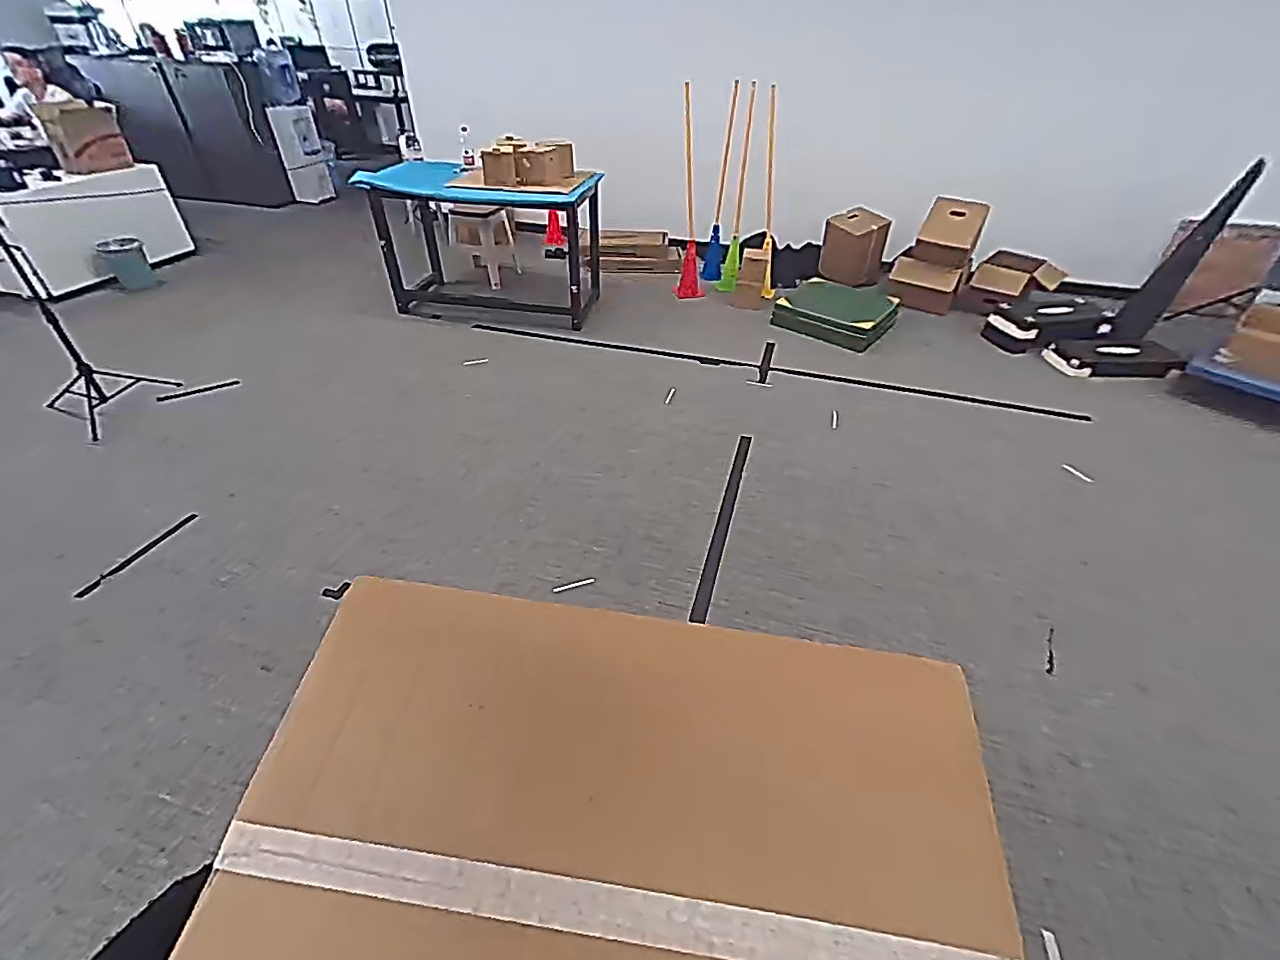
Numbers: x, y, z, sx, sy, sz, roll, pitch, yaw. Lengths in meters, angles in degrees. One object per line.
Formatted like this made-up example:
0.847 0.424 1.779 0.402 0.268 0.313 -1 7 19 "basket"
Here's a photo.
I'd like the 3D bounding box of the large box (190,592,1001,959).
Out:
-0.021 0.310 0.399 0.408 0.320 0.320 7 55 4 "large box"
